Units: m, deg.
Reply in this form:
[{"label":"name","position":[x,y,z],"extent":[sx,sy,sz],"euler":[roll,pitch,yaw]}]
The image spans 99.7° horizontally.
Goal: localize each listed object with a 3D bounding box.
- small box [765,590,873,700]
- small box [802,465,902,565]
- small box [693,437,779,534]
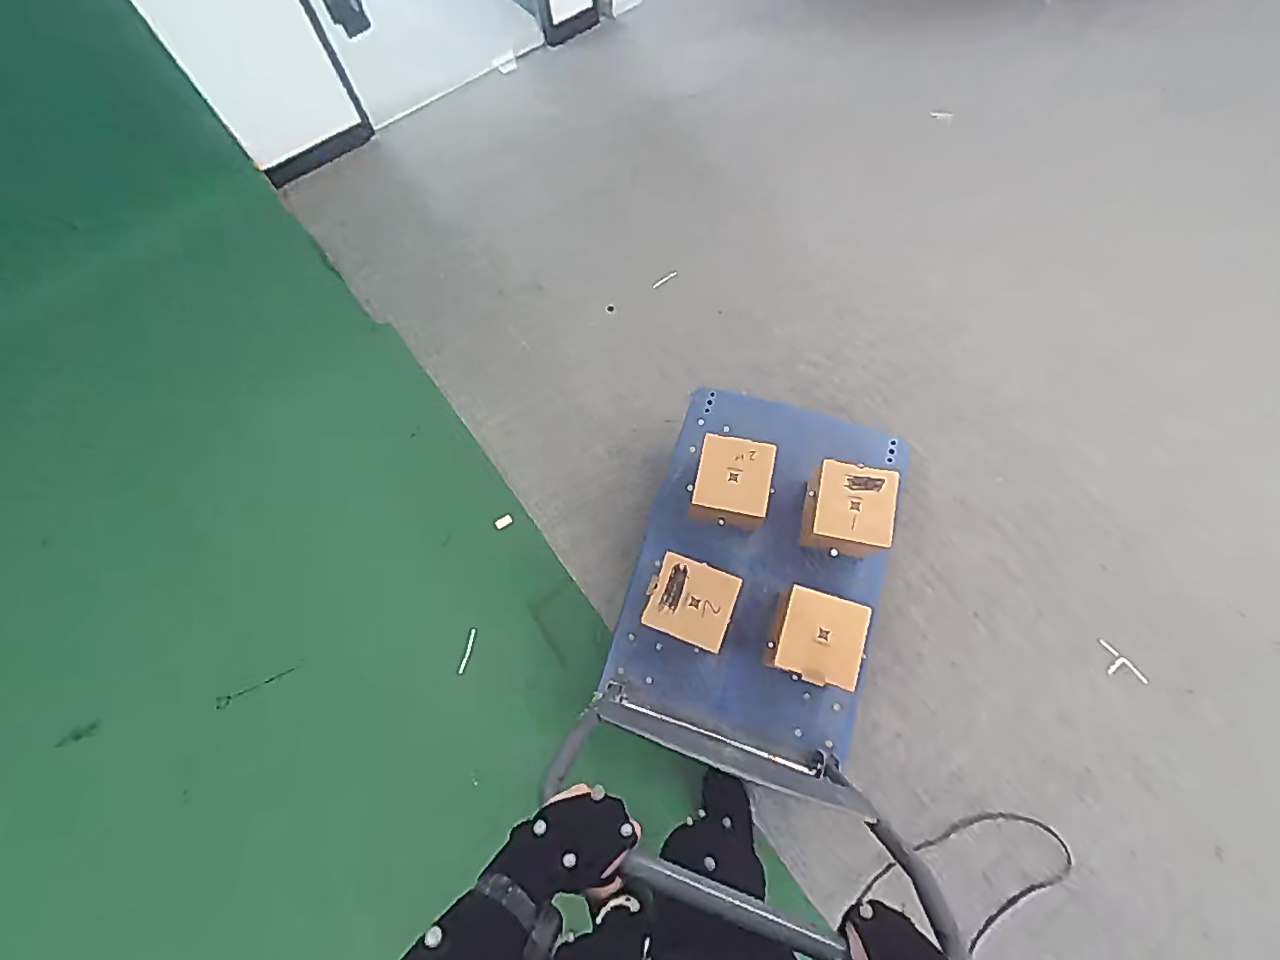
[{"label":"small box","position":[0.381,0.356,1.178],"extent":[0.168,0.176,0.179],"euler":[17,76,9]},{"label":"small box","position":[0.482,0.086,1.251],"extent":[0.168,0.176,0.179],"euler":[12,75,8]},{"label":"small box","position":[0.223,0.020,1.289],"extent":[0.168,0.176,0.179],"euler":[12,74,7]}]
